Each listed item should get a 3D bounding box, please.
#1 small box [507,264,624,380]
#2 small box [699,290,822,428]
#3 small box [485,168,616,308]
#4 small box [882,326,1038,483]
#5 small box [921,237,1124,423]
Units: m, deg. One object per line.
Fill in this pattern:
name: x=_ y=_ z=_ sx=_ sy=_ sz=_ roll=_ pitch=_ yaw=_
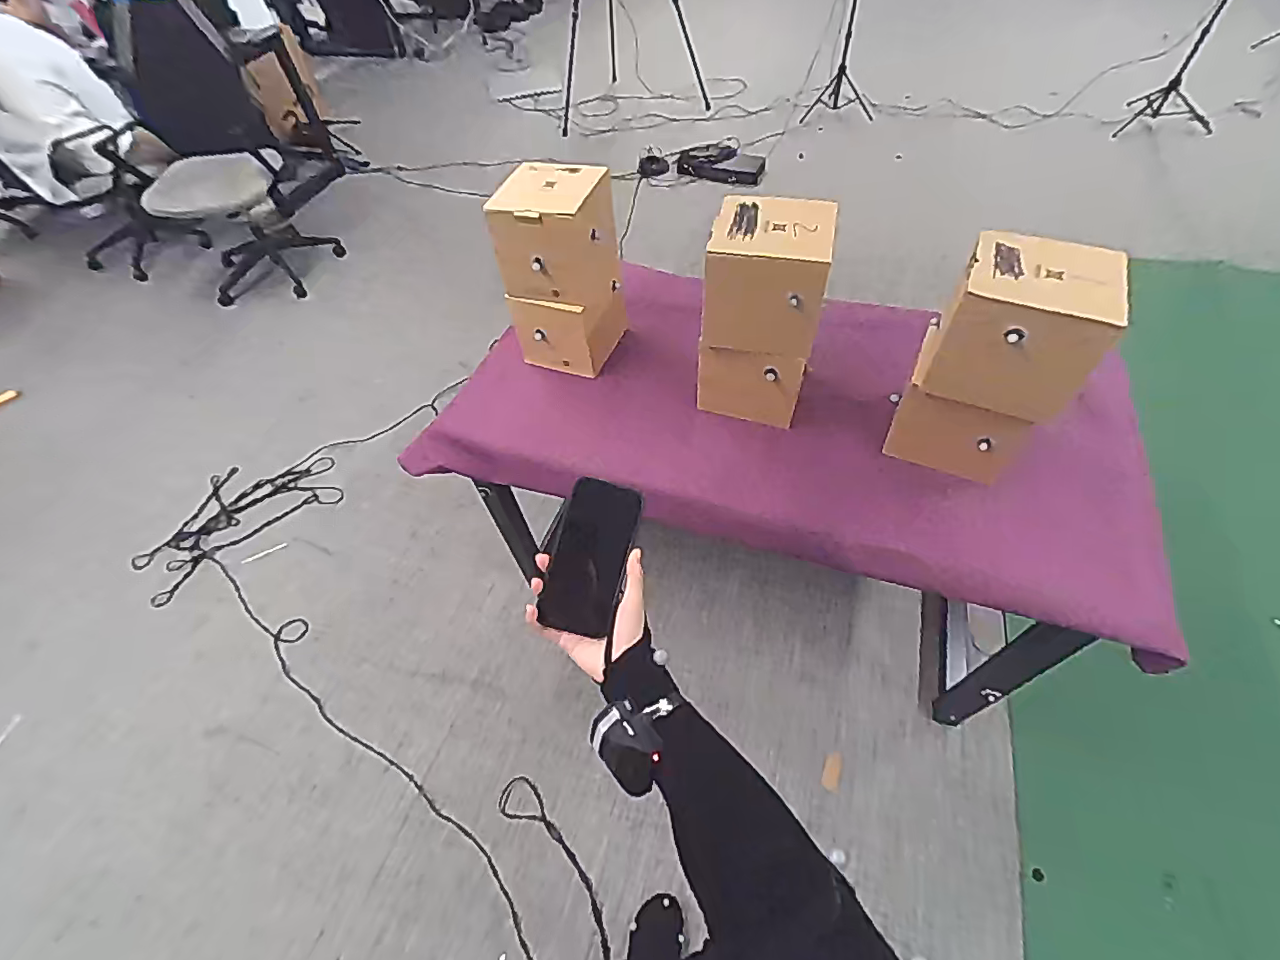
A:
small box: x=-0.140 y=-0.330 z=1.107 sx=0.168 sy=0.176 sz=0.179 roll=16 pitch=56 yaw=16
small box: x=0.214 y=-0.217 z=0.987 sx=0.179 sy=0.176 sz=0.168 roll=15 pitch=55 yaw=16
small box: x=-0.149 y=-0.436 z=0.982 sx=0.168 sy=0.176 sz=0.179 roll=12 pitch=55 yaw=13
small box: x=0.525 y=-0.119 z=0.887 sx=0.179 sy=0.176 sz=0.168 roll=20 pitch=57 yaw=20
small box: x=0.516 y=-0.205 z=0.747 sx=0.179 sy=0.176 sz=0.168 roll=21 pitch=57 yaw=19
